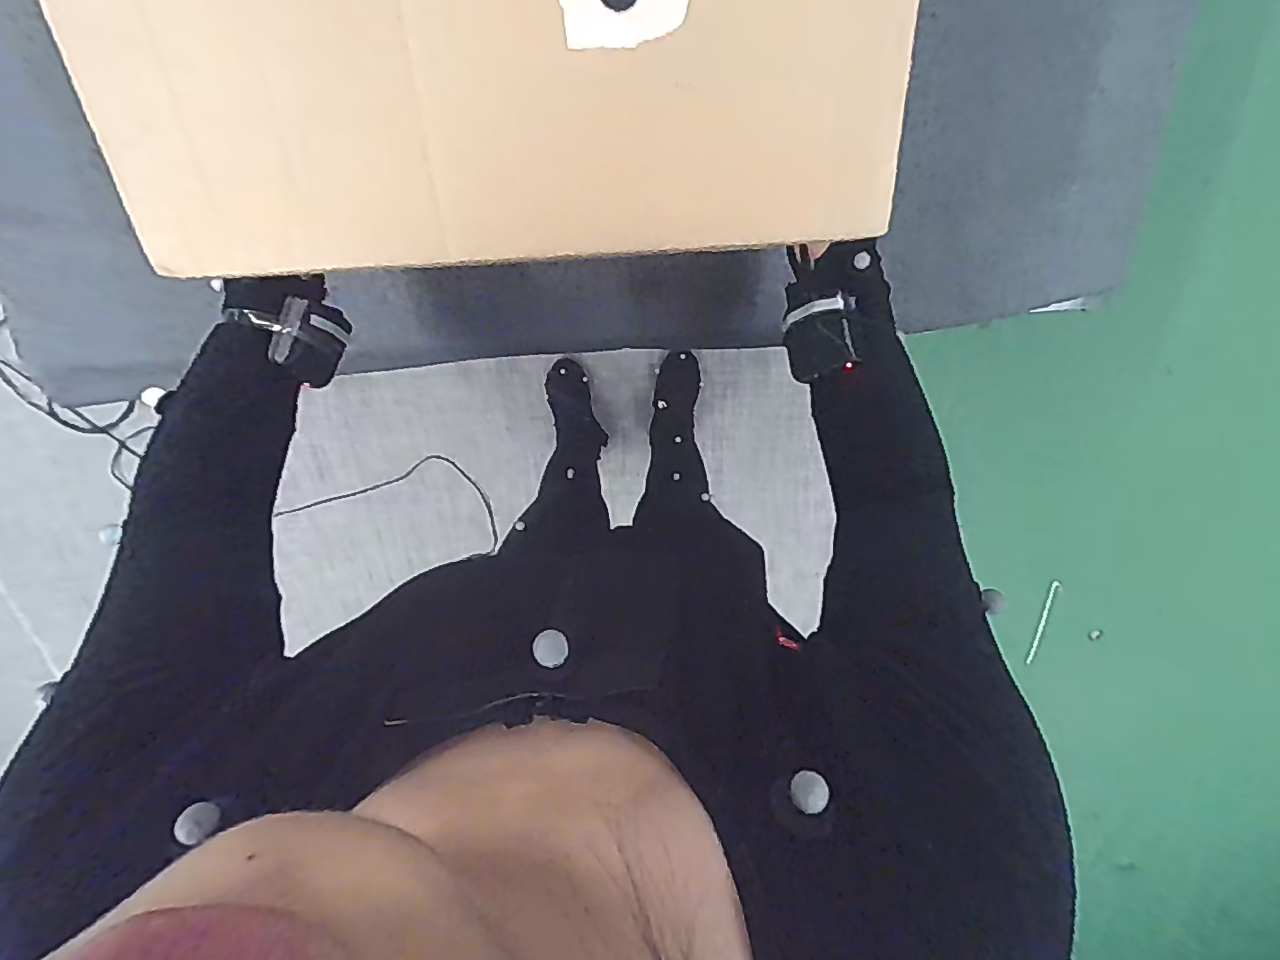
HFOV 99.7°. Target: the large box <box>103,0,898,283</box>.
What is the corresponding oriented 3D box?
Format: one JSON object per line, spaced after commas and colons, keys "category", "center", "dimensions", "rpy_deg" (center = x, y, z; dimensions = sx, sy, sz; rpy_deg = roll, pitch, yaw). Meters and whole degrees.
{"category": "large box", "center": [-0.072, -0.329, 0.395], "dimensions": [0.408, 0.320, 0.320], "rpy_deg": [-3, 113, 1]}
